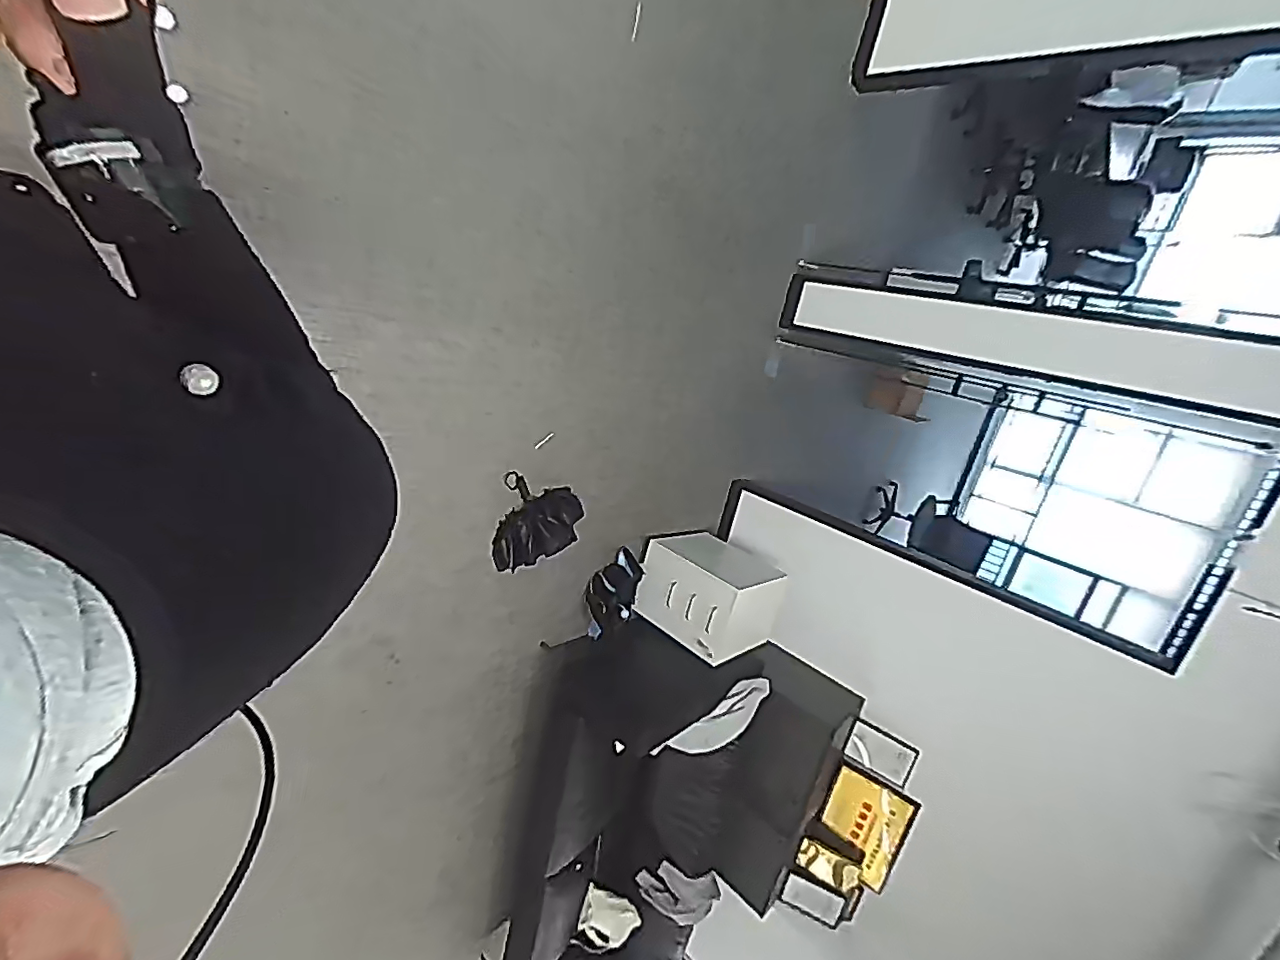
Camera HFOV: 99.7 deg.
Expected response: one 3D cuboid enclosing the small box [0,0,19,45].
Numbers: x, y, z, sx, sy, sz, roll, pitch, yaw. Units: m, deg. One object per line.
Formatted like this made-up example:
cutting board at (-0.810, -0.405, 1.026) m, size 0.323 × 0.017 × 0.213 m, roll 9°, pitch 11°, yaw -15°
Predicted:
small box at (-0.425, -0.316, 0.238) m, size 0.168 × 0.176 × 0.179 m, roll -10°, pitch 139°, yaw -37°
